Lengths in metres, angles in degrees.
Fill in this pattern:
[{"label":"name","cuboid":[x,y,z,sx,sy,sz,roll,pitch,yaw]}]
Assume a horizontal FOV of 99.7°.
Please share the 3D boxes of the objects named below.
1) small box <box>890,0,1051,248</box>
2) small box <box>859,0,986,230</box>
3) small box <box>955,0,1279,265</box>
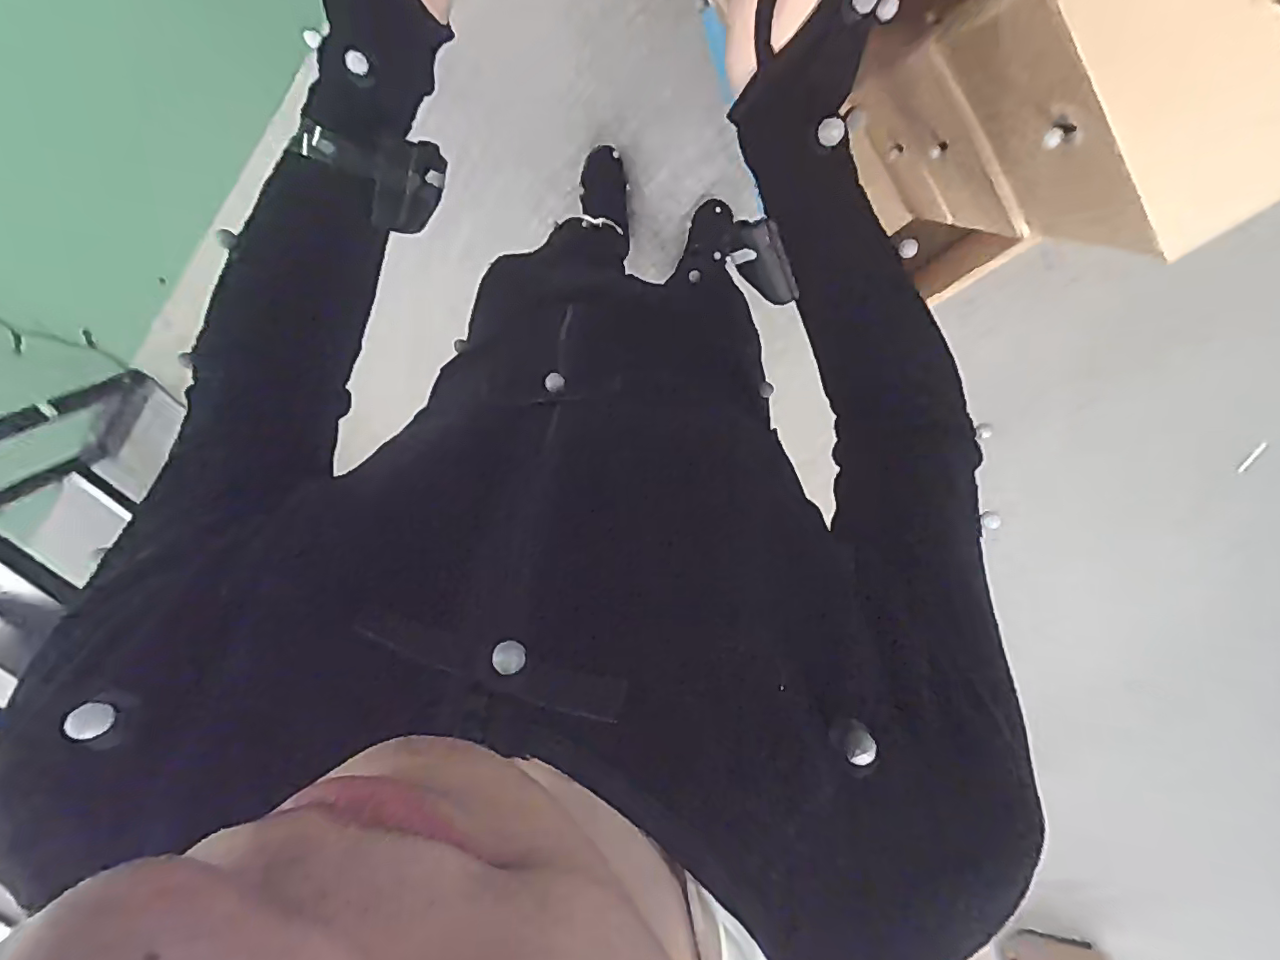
[{"label":"small box","cuboid":[0.345,-0.331,0.462,0.168,0.176,0.179,-33,107,24]},{"label":"small box","cuboid":[0.370,-0.408,0.604,0.168,0.176,0.179,-31,108,24]},{"label":"small box","cuboid":[0.324,-0.257,0.318,0.168,0.176,0.179,-32,108,25]}]
